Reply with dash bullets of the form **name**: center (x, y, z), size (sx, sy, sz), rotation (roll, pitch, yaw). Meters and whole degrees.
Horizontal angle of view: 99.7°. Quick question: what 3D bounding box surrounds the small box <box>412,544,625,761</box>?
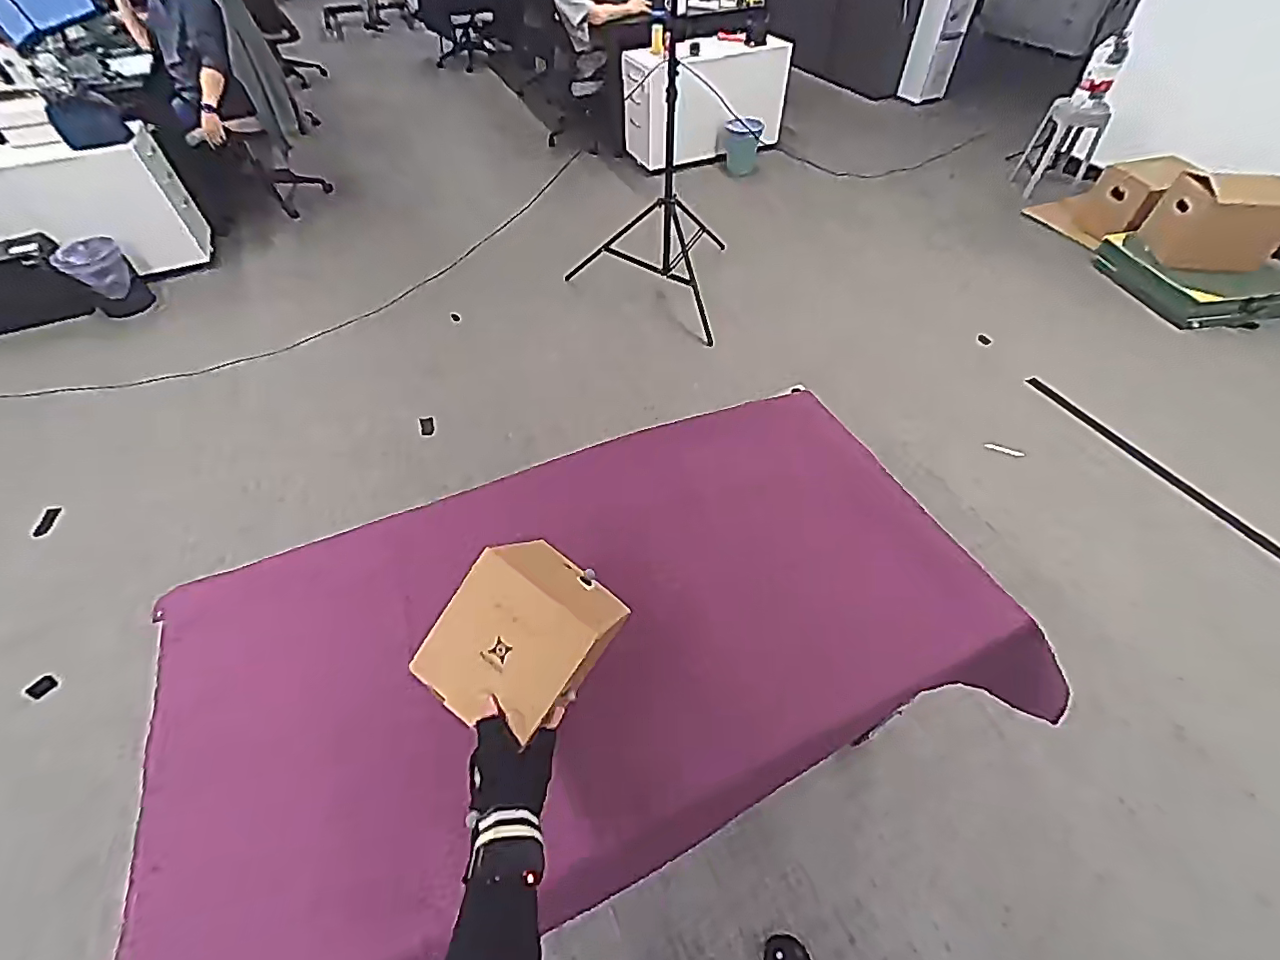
- **small box**: center (-0.140, 0.200, 0.684), size (0.168, 0.176, 0.179), rotation (34, 96, 11)
